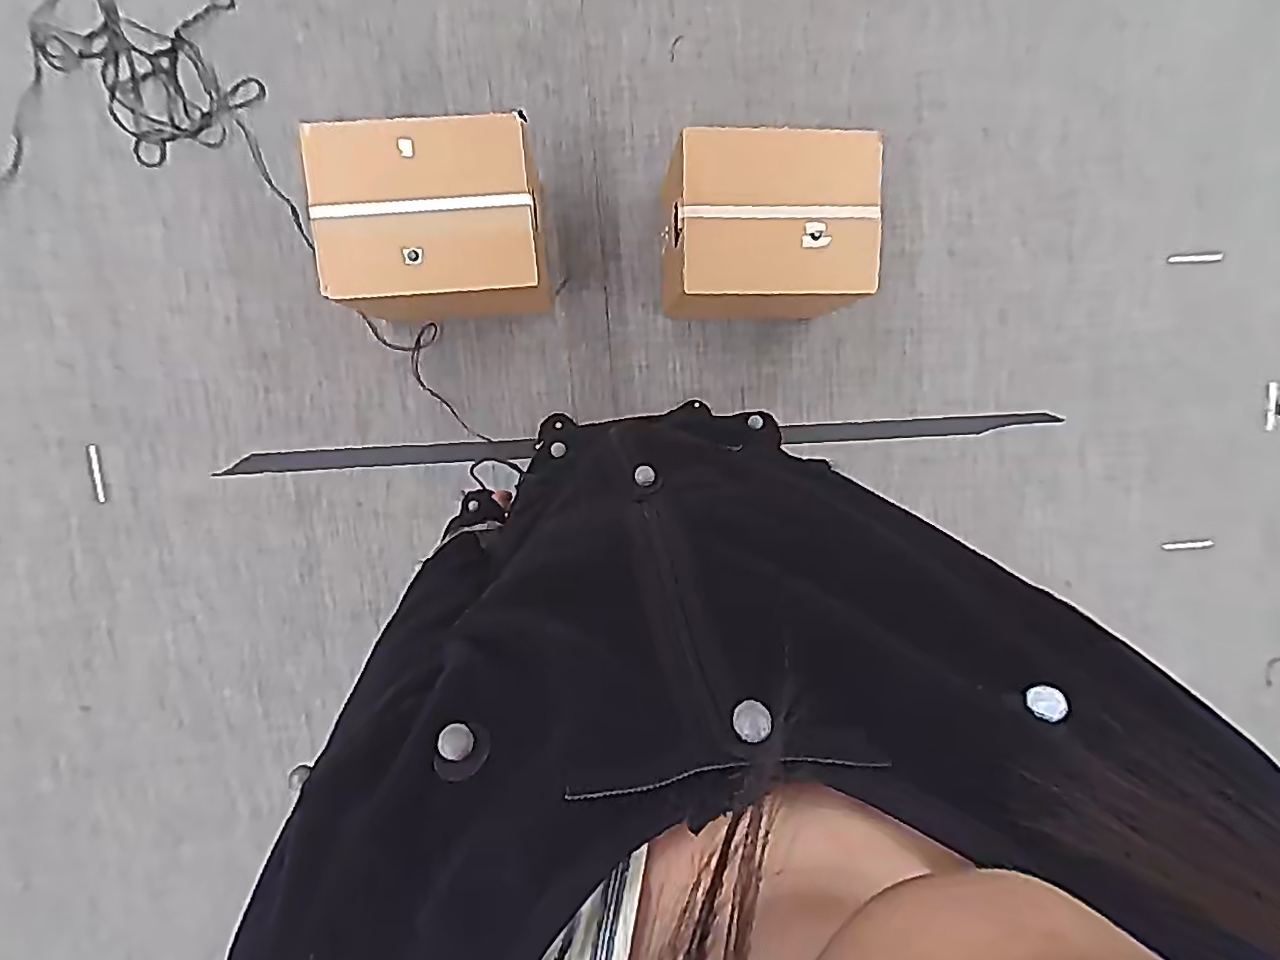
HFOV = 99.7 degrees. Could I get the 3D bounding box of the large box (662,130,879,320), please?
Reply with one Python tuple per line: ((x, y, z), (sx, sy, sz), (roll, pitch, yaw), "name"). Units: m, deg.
((0.271, -0.552, 1.230), (0.408, 0.320, 0.320), (-1, 98, -5), "large box")
